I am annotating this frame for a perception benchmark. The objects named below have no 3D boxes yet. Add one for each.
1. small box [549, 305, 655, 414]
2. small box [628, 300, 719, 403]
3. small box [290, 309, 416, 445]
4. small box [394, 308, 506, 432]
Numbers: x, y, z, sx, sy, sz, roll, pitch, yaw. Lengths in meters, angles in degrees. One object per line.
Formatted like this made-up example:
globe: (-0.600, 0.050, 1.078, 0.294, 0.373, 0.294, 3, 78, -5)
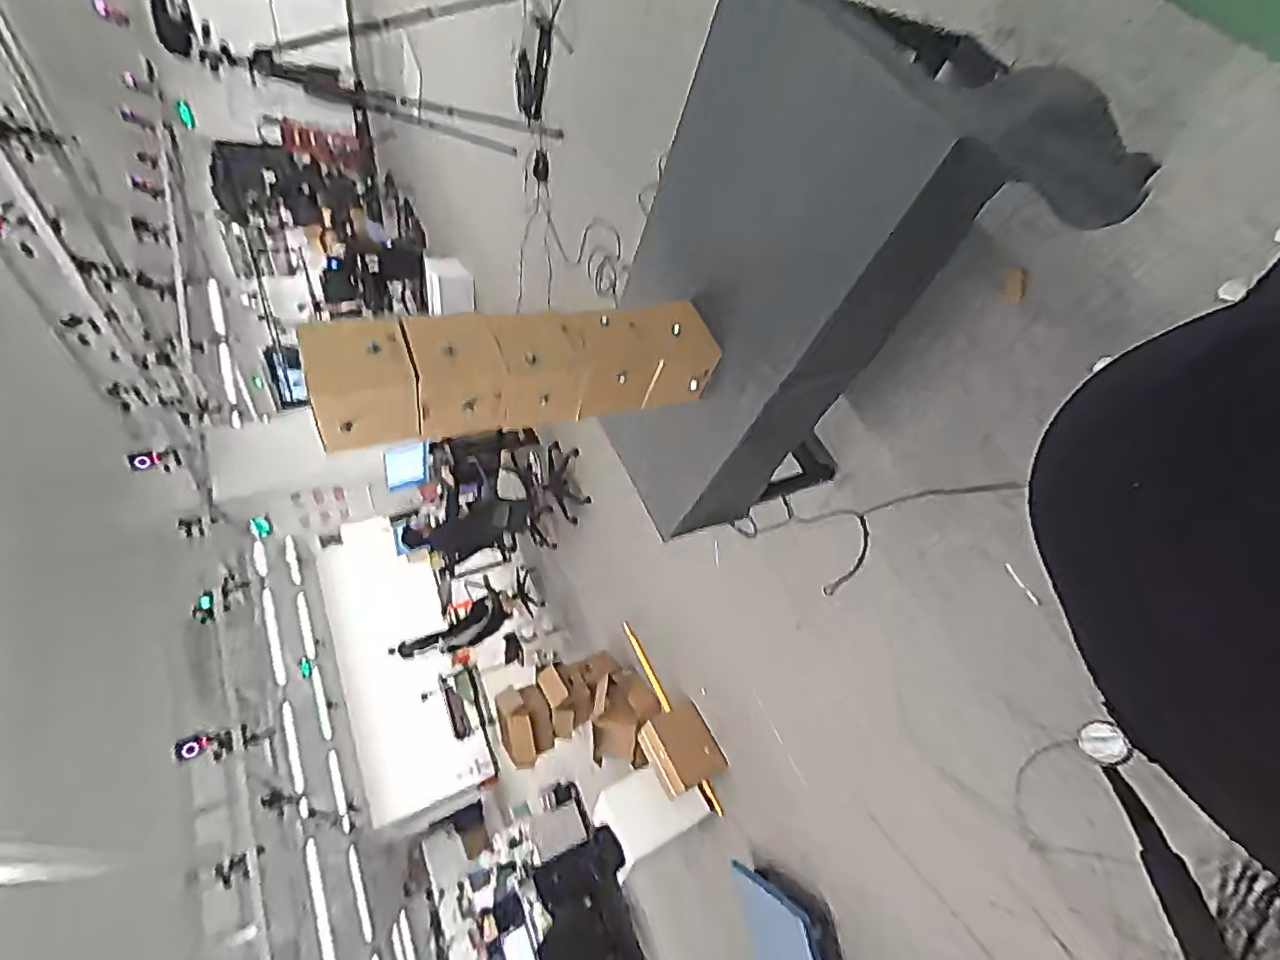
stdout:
small box: (-0.085, -0.274, 1.213, 0.168, 0.176, 0.179, 63, 149, 26)
small box: (0.056, -0.308, 1.286, 0.179, 0.176, 0.168, 62, 149, 23)
small box: (-0.515, -0.189, 0.988, 0.168, 0.176, 0.179, 64, 150, 24)
small box: (-0.375, -0.223, 1.069, 0.179, 0.176, 0.168, 63, 149, 25)
